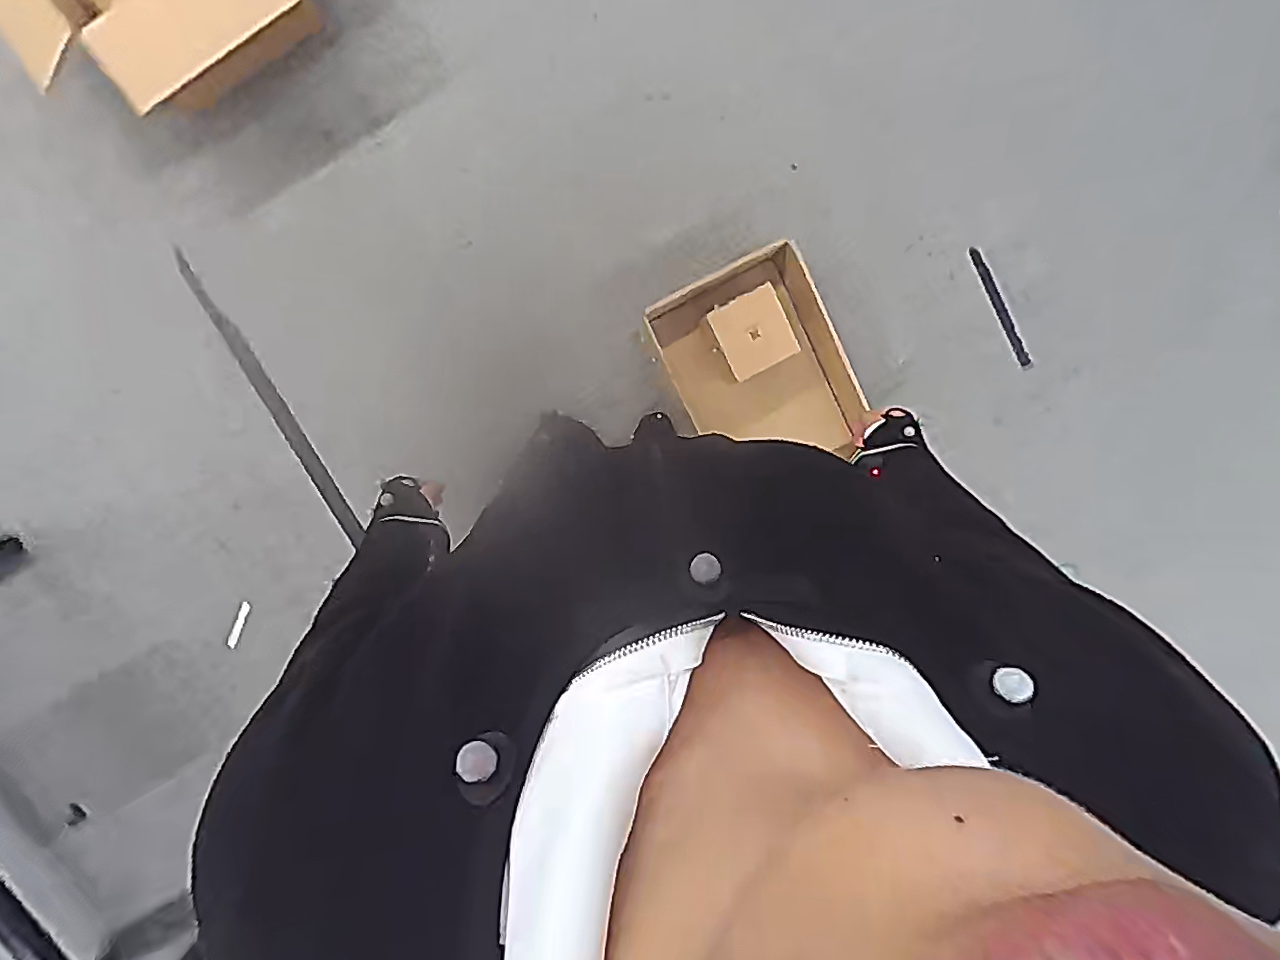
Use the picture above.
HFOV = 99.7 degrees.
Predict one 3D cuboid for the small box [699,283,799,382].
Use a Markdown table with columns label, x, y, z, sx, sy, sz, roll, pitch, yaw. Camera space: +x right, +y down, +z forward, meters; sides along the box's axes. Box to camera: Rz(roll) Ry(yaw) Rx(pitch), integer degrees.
| label | x | y | z | sx | sy | sz | roll | pitch | yaw |
| --- | --- | --- | --- | --- | --- | --- | --- | --- | --- |
| small box | 0.258 | -0.352 | 1.326 | 0.168 | 0.176 | 0.179 | -27 | 99 | 4 |
